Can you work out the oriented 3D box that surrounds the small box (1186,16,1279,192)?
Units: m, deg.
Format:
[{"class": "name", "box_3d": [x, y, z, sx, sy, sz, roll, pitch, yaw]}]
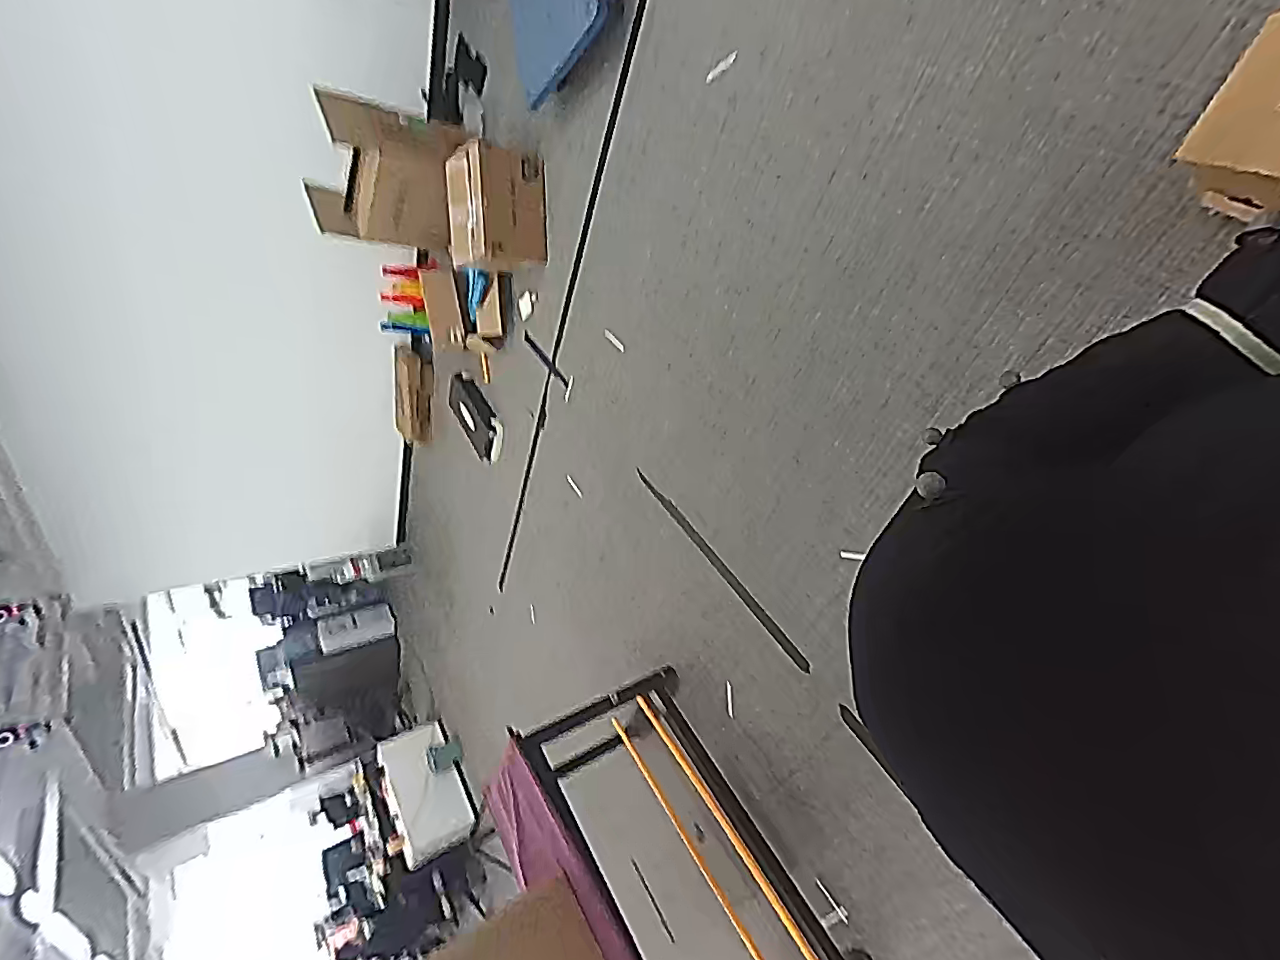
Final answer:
[{"class": "small box", "box_3d": [0.881, -0.477, 0.698, 0.179, 0.176, 0.168, 45, 130, 37]}]

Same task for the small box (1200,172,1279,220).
[{"class": "small box", "box_3d": [1.008, -0.490, 0.799, 0.168, 0.176, 0.179, 52, 134, 32]}]
